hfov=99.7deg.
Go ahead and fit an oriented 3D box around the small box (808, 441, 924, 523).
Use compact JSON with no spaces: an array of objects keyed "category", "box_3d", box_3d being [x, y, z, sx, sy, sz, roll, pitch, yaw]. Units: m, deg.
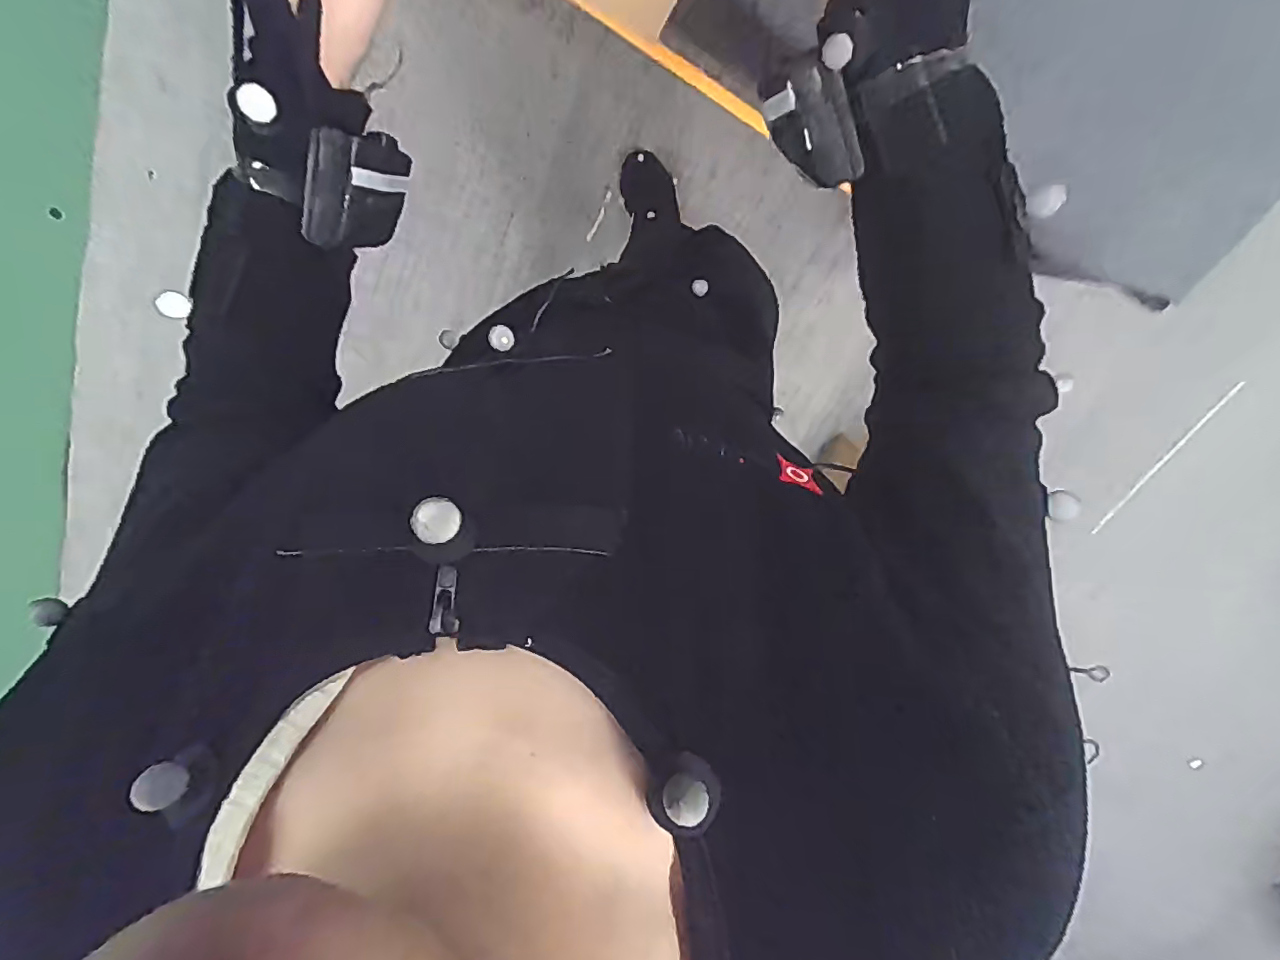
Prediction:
[{"category":"small box","box_3d":[0.547,0.024,1.331,0.179,0.176,0.168,21,112,-8]}]
